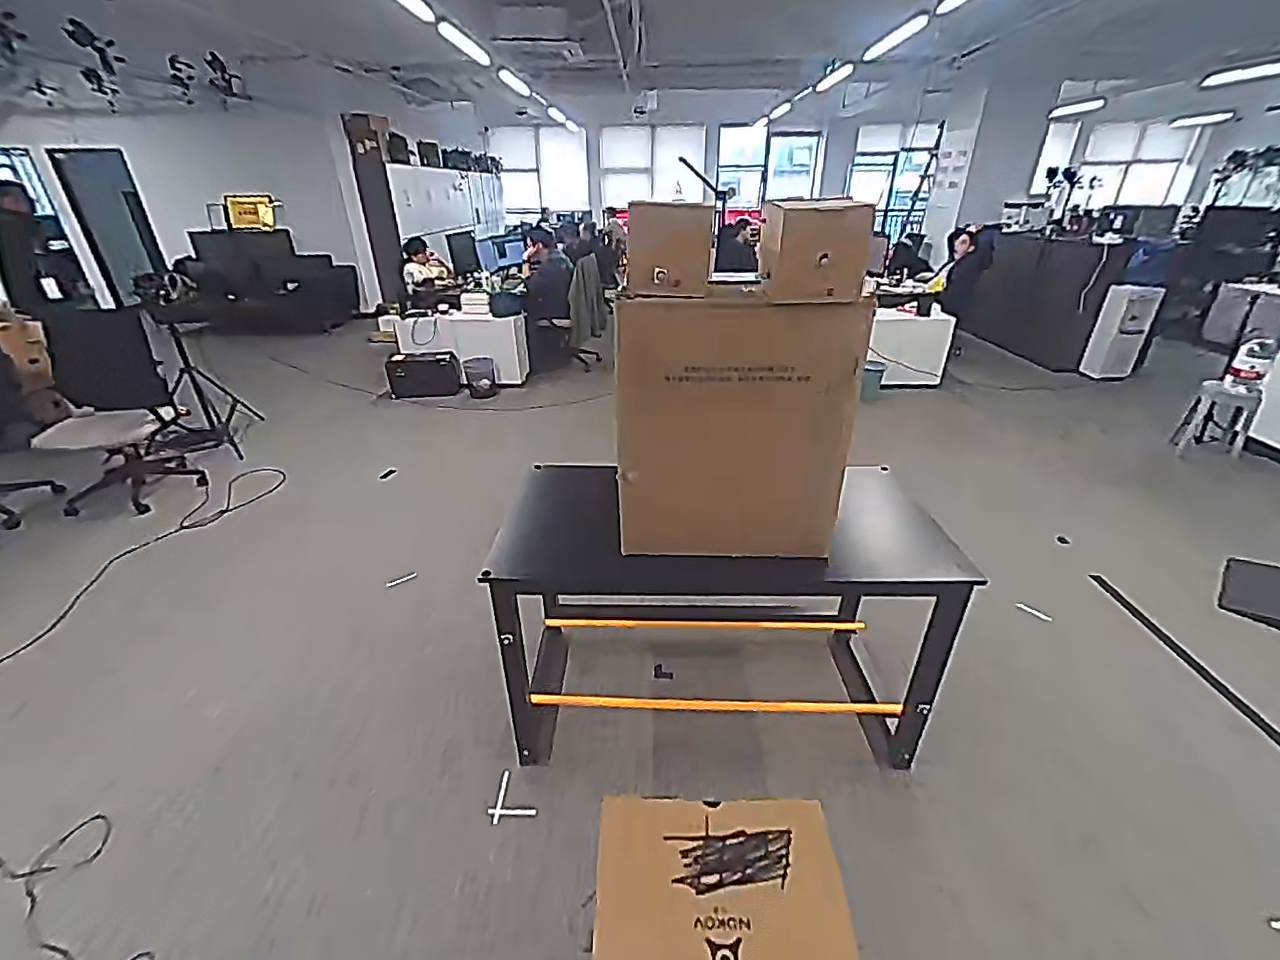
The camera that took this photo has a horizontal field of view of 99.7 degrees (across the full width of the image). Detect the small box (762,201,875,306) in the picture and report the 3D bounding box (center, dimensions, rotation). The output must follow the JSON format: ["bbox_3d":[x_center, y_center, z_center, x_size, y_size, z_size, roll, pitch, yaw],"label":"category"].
[{"bbox_3d":[0.341,-0.446,1.067,0.168,0.176,0.179,0,31,2],"label":"small box"}]

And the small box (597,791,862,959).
[{"bbox_3d":[0.052,0.354,0.383,0.168,0.176,0.179,1,34,0],"label":"small box"}]

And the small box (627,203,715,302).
[{"bbox_3d":[0.060,-0.473,1.118,0.168,0.176,0.179,1,29,1],"label":"small box"}]

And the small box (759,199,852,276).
[{"bbox_3d":[0.380,-0.562,1.272,0.168,0.176,0.179,-1,25,2],"label":"small box"}]
